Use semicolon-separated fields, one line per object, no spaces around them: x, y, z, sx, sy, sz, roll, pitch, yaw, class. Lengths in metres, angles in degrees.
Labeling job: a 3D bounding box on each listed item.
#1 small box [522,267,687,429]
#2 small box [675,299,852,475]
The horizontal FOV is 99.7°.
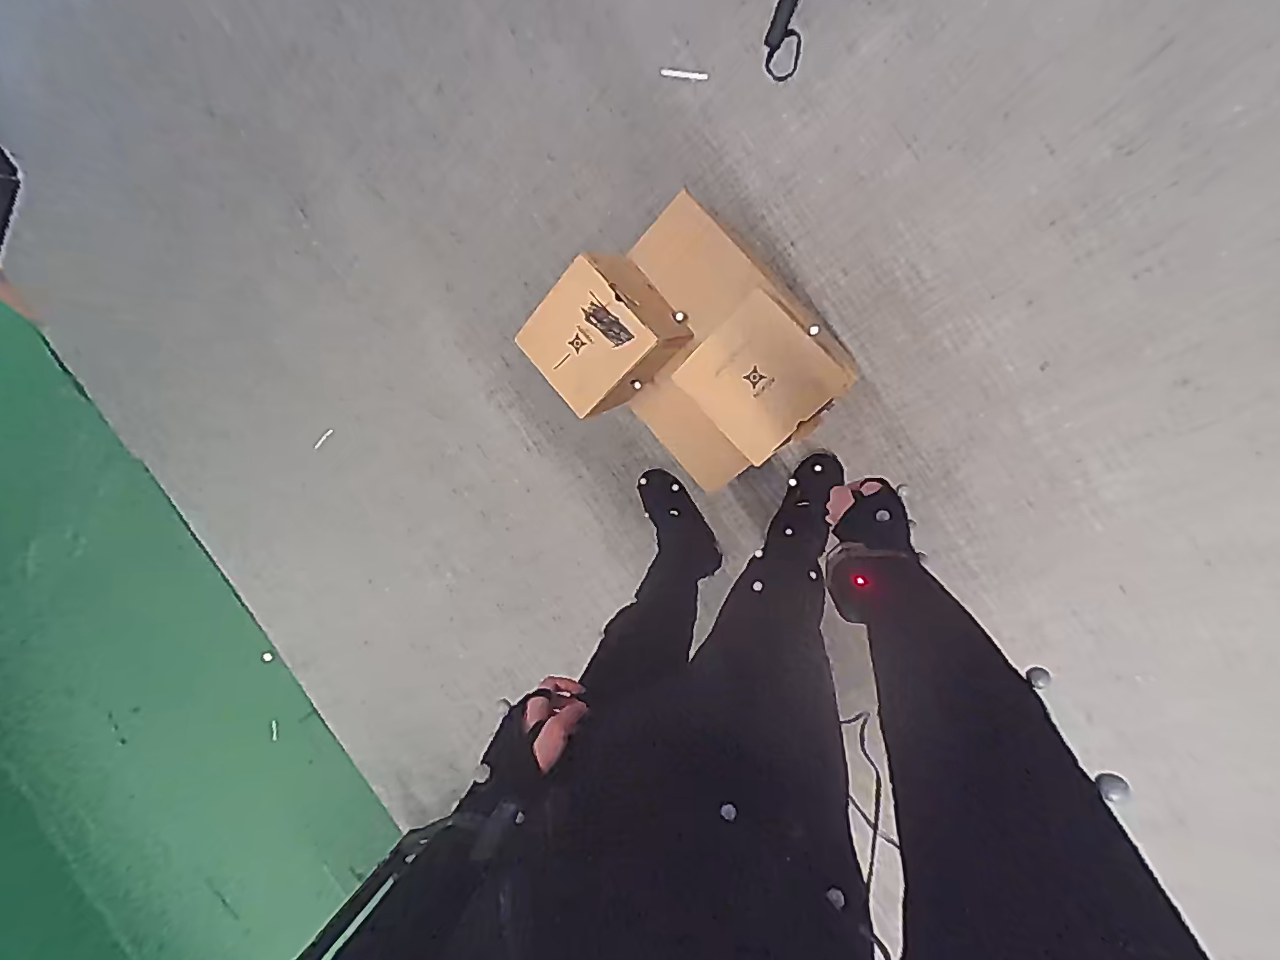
-0.045;-0.210;0.858;0.179;0.176;0.168;-42;86;29;small box
0.185;-0.137;0.786;0.179;0.176;0.168;47;112;6;small box
